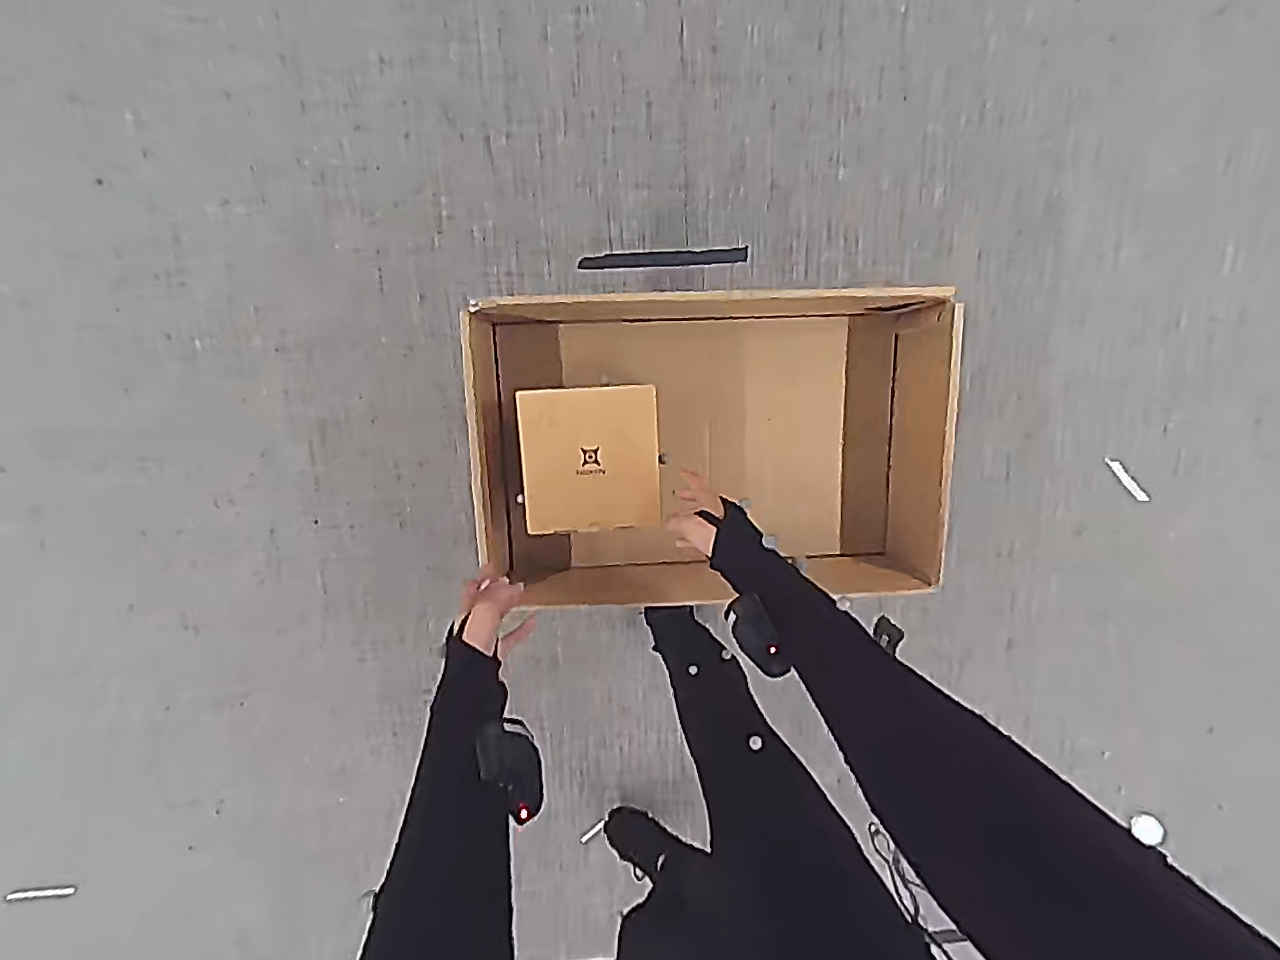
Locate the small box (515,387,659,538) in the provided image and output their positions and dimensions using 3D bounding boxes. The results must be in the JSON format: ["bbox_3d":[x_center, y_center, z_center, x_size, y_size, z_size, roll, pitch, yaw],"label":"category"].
[{"bbox_3d":[-0.067,-0.032,0.723,0.168,0.176,0.179,-4,101,-2],"label":"small box"}]
